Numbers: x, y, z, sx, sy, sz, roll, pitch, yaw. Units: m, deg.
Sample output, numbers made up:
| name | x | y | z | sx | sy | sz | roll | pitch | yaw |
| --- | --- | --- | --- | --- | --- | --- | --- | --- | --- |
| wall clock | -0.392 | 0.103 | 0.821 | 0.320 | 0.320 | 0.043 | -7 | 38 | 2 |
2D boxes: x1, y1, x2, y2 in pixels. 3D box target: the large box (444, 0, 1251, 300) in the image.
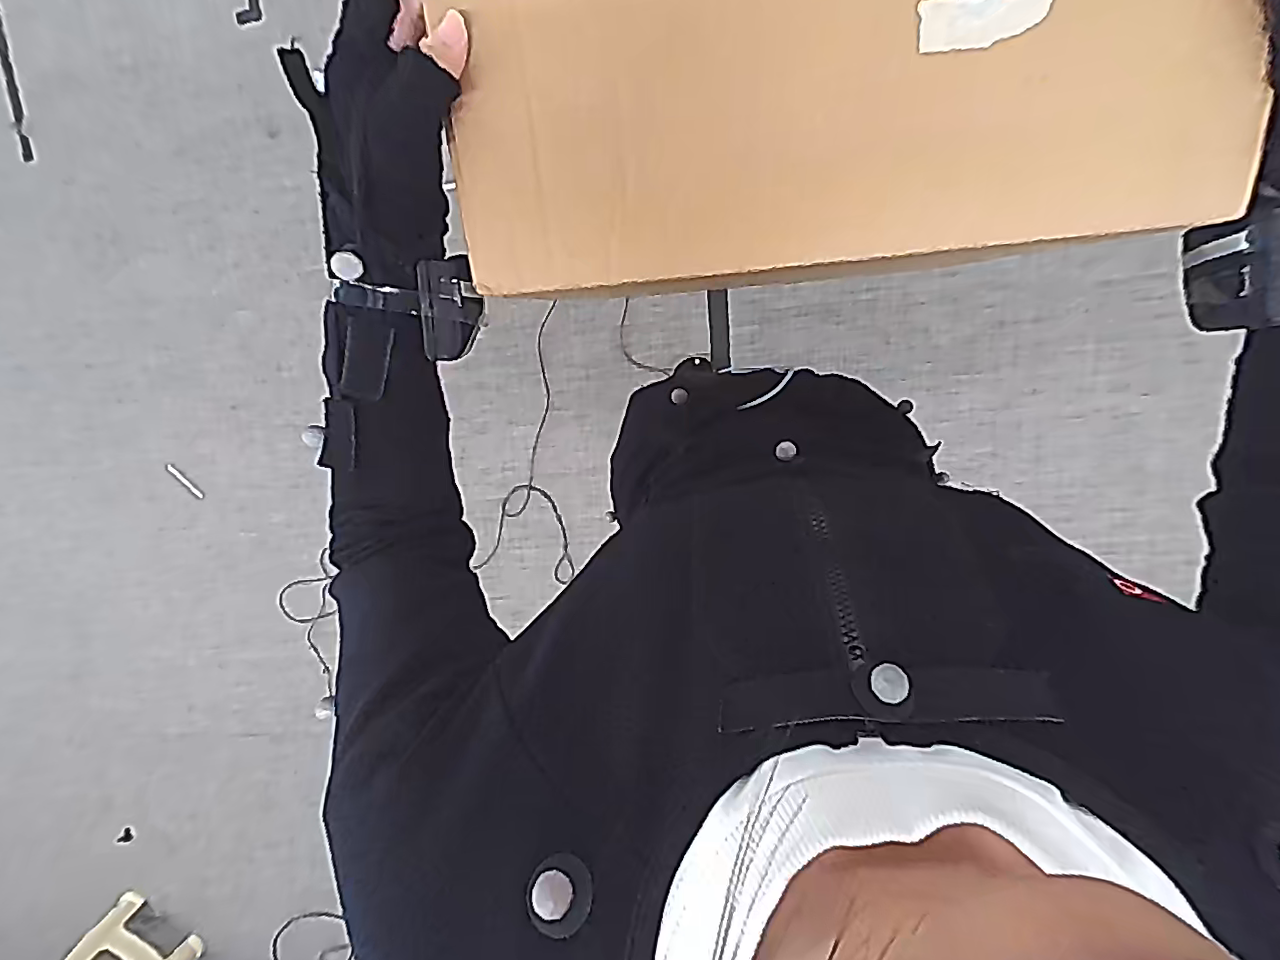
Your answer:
| name | x | y | z | sx | sy | sz | roll | pitch | yaw |
| --- | --- | --- | --- | --- | --- | --- | --- | --- | --- |
| large box | 0.101 | -0.321 | 0.405 | 0.408 | 0.320 | 0.320 | -4 | 108 | 5 |
